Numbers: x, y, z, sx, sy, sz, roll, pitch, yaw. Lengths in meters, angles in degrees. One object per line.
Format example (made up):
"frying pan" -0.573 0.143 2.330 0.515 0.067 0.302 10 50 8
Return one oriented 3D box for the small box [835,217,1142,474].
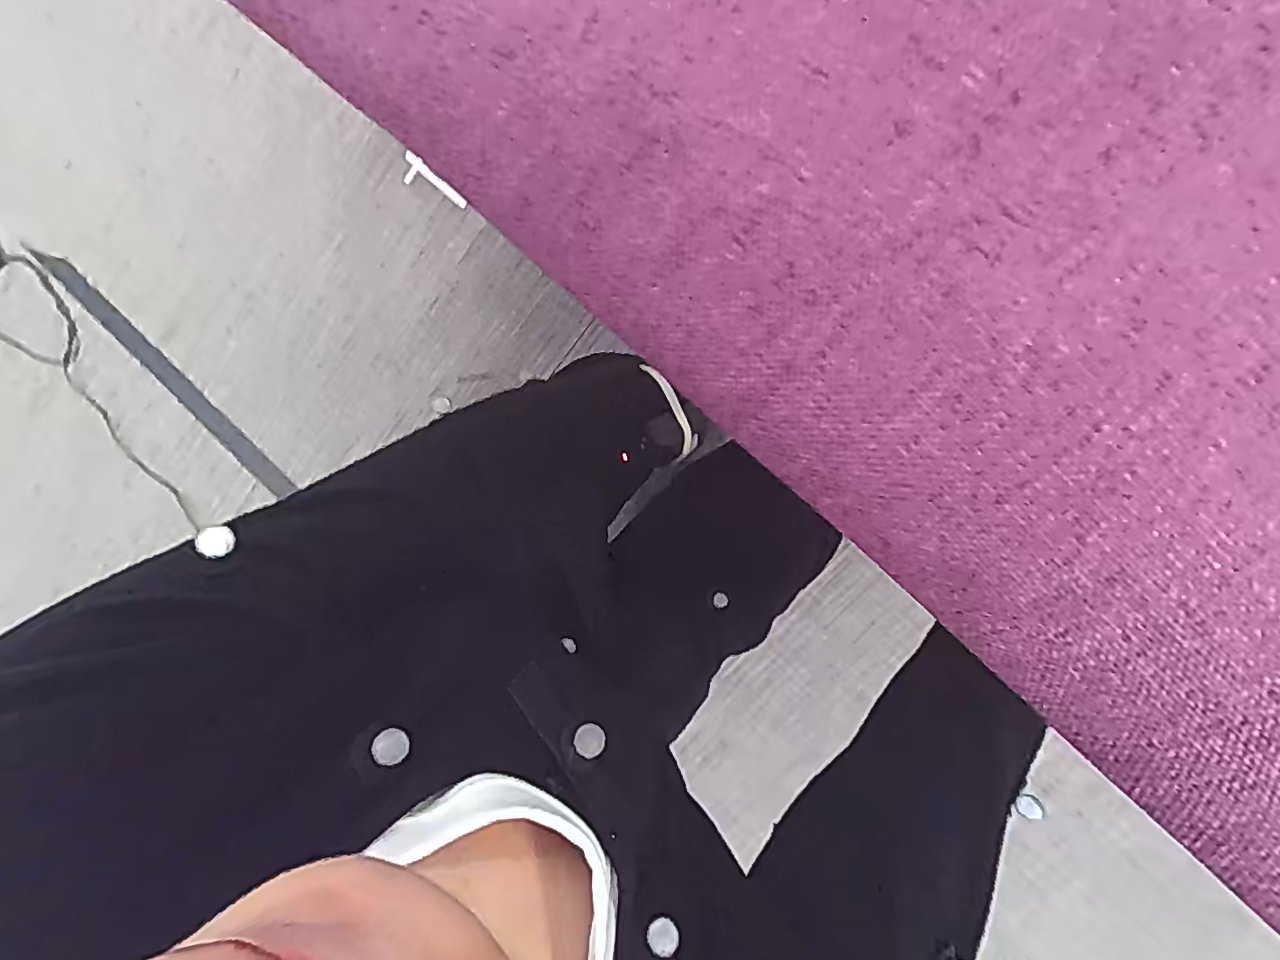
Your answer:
"small box" 0.342 -0.124 0.573 0.179 0.176 0.168 43 86 6
